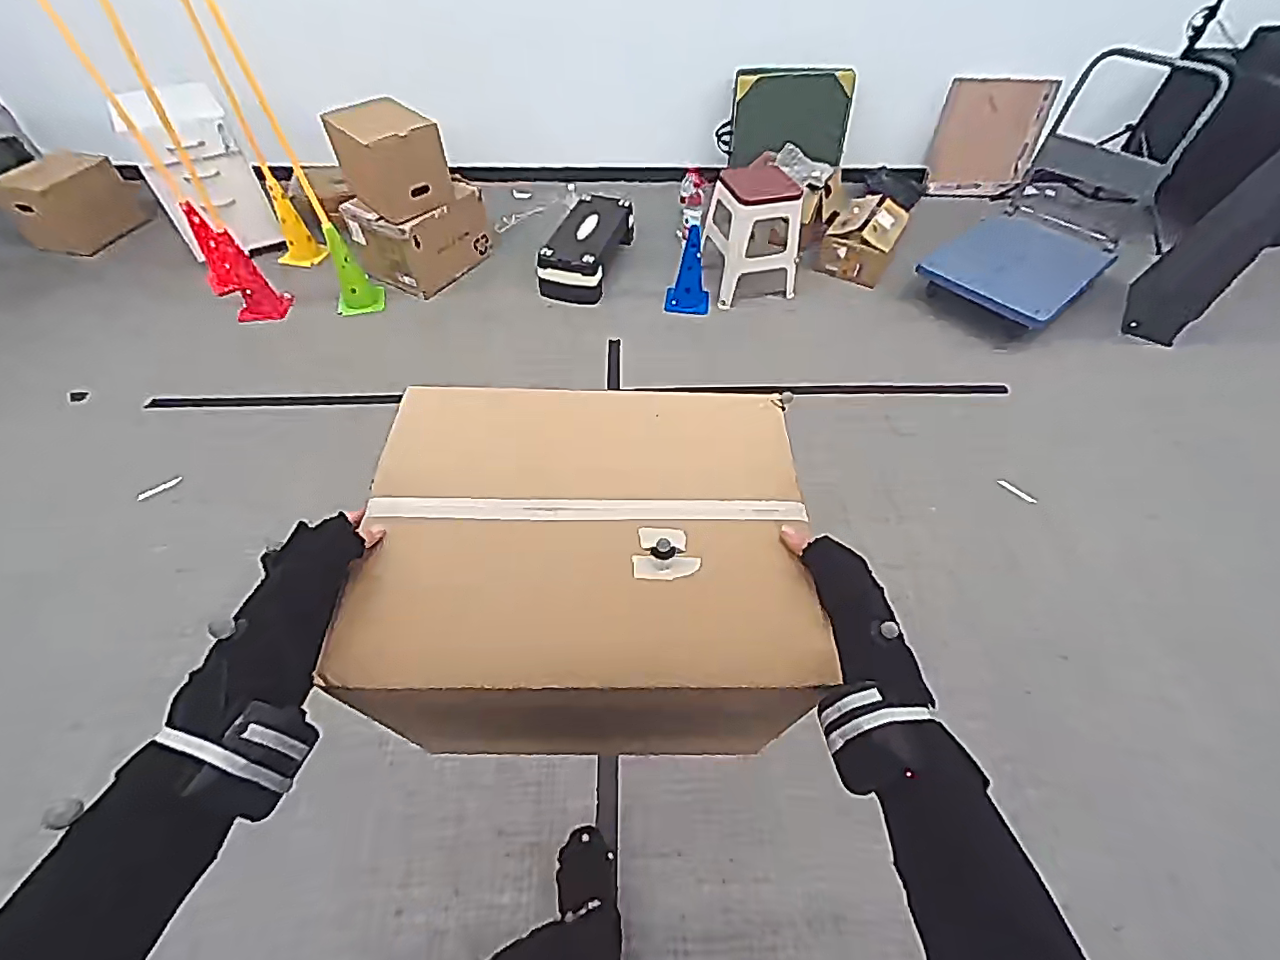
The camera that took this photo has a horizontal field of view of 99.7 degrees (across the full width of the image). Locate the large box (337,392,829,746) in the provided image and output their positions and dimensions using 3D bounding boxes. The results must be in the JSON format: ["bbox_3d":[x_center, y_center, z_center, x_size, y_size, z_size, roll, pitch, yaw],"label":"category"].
[{"bbox_3d":[-0.052,0.115,0.637,0.408,0.320,0.320,1,55,-2],"label":"large box"}]
